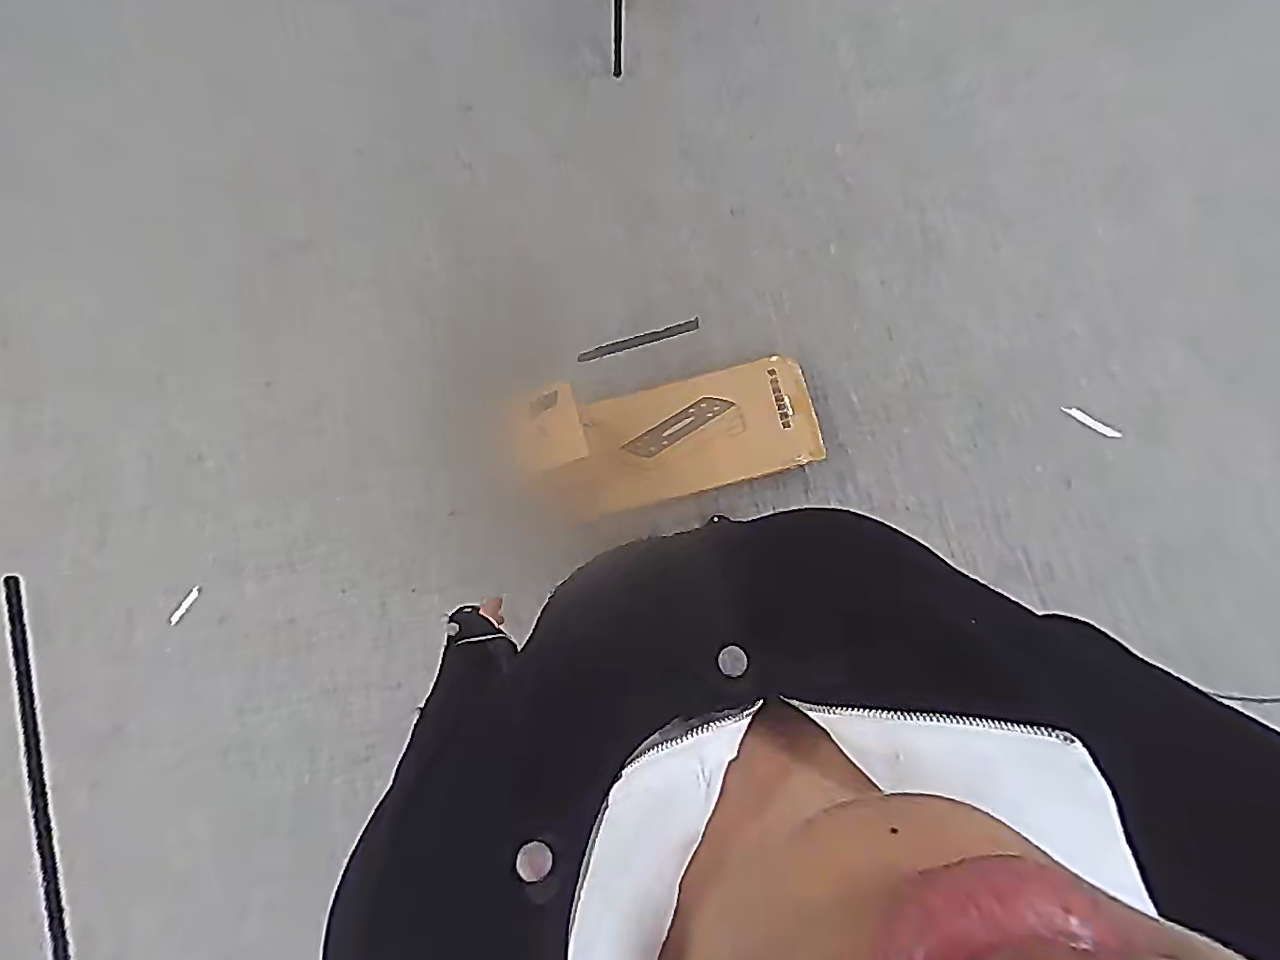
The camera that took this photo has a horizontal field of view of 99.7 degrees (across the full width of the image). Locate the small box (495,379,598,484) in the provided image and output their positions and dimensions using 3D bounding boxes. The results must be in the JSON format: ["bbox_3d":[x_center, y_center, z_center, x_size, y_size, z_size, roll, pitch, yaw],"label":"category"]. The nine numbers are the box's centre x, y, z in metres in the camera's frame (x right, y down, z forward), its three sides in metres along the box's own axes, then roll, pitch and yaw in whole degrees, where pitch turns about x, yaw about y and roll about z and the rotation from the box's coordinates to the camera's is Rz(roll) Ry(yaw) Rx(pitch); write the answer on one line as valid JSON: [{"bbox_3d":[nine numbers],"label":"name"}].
[{"bbox_3d":[-0.200,-0.099,1.193,0.168,0.176,0.179,-17,84,2],"label":"small box"}]
